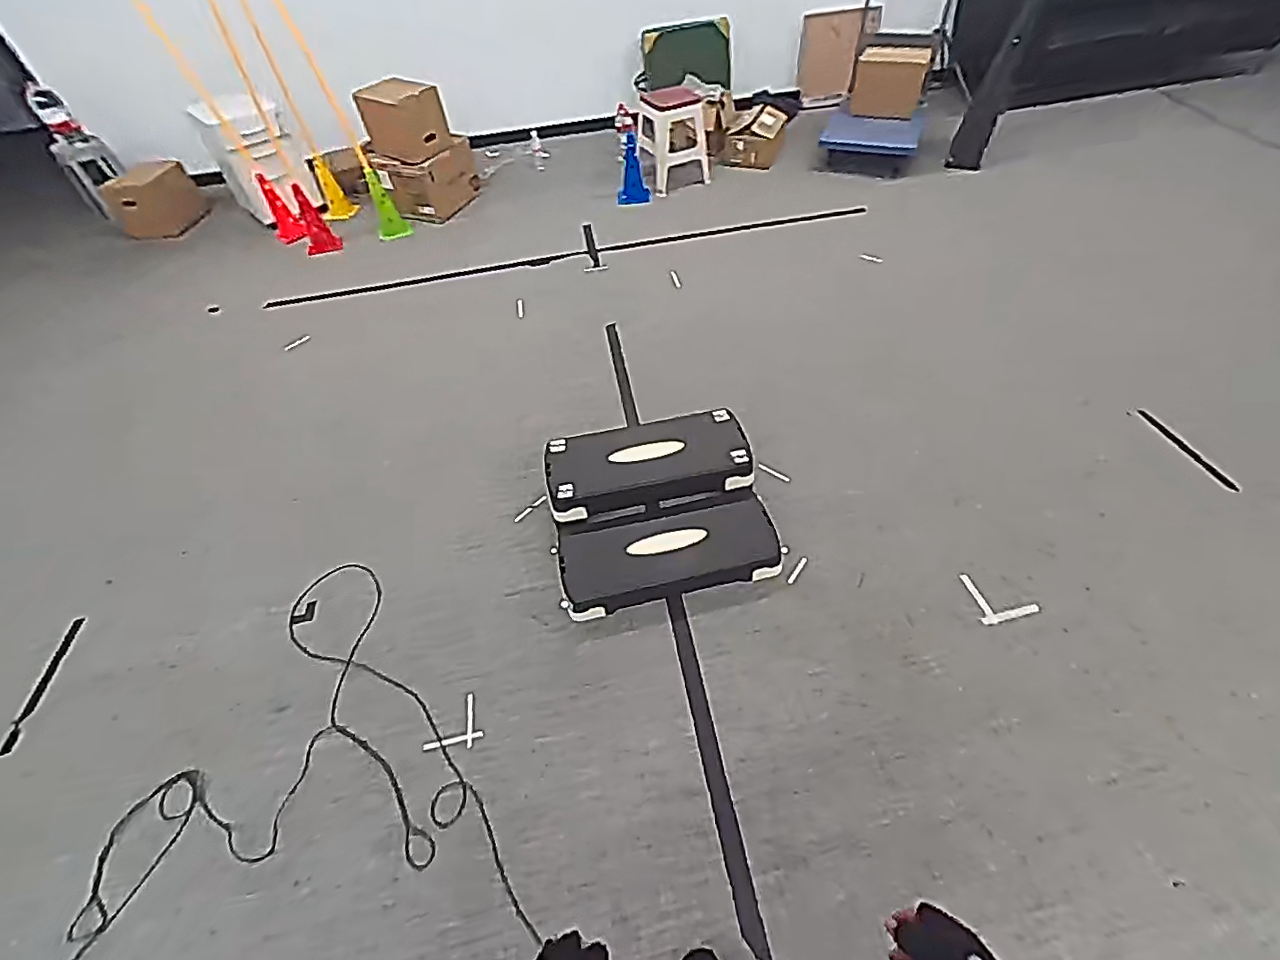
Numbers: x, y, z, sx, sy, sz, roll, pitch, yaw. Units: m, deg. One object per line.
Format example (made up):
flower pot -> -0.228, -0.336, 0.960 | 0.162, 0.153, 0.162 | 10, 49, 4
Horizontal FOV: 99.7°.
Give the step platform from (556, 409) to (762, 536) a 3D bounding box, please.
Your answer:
step platform -> 0.059, -0.036, 1.833 | 0.684, 0.204, 0.286 | -11, 50, -6
